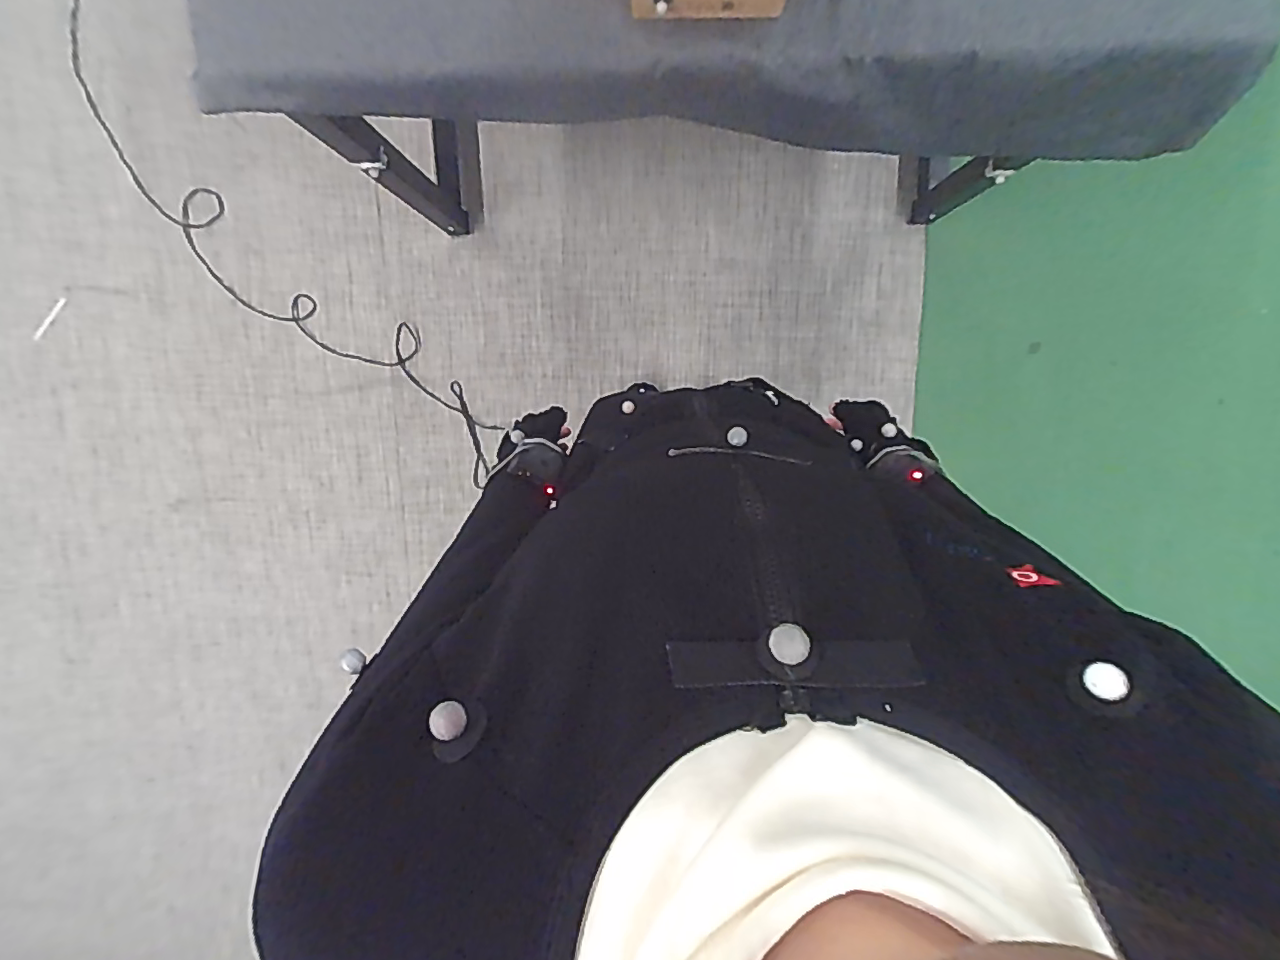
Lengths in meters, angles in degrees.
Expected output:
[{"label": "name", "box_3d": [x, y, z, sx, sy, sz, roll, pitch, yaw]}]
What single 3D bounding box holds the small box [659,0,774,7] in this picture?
[{"label": "small box", "box_3d": [0.074, -0.603, 0.519, 0.168, 0.176, 0.179, 1, 98, 1]}]
